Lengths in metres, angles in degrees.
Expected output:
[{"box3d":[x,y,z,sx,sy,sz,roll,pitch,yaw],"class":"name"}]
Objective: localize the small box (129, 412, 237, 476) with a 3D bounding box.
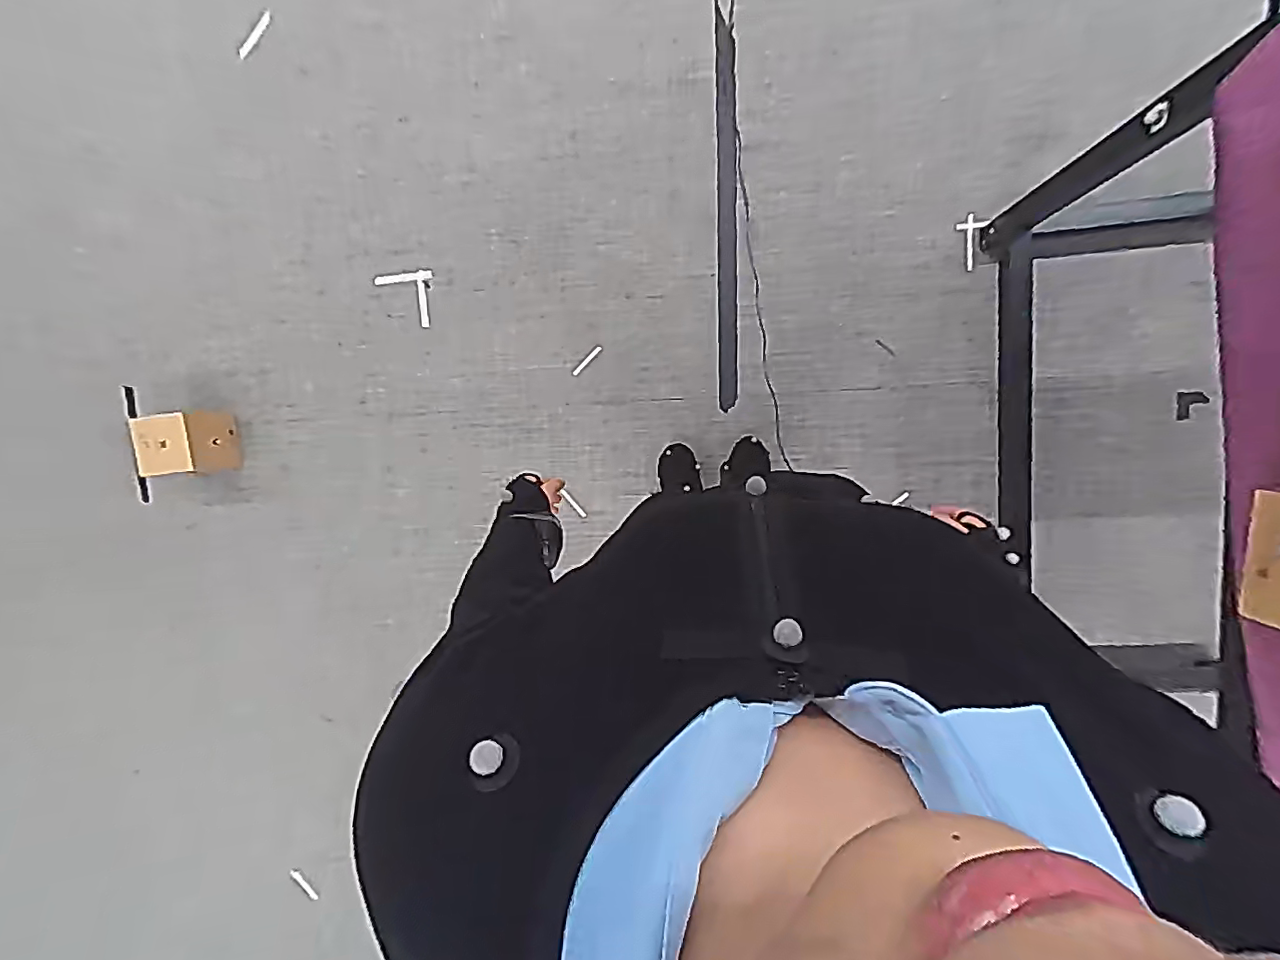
[{"box3d":[-1.320,-0.108,1.578,0.179,0.176,0.168,-6,95,8],"class":"small box"}]
